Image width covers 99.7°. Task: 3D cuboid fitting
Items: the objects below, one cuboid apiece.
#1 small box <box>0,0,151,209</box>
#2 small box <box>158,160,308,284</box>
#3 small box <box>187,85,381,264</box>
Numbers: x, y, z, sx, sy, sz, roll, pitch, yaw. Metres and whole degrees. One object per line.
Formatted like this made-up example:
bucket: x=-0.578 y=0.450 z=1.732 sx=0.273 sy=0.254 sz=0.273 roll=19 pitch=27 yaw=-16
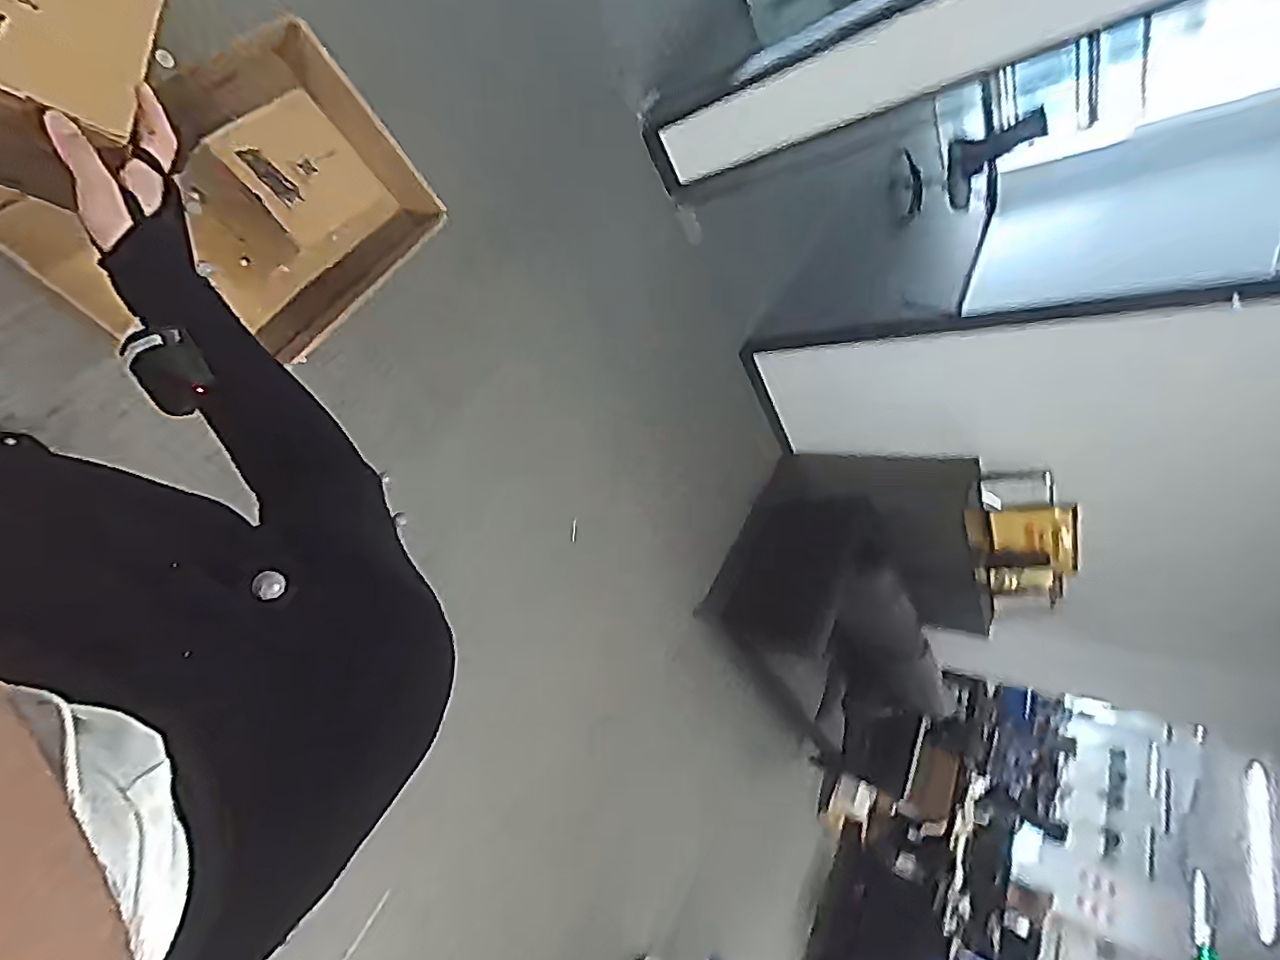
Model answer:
small box: x=-0.547 y=-0.374 z=0.453 sx=0.168 sy=0.176 sz=0.179 roll=13 pitch=75 yaw=-50
small box: x=-0.686 y=-0.472 z=0.948 sx=0.179 sy=0.176 sz=0.168 roll=54 pitch=54 yaw=-38
small box: x=-0.558 y=-0.465 z=0.846 sx=0.179 sy=0.176 sz=0.168 roll=-59 pitch=133 yaw=-29
